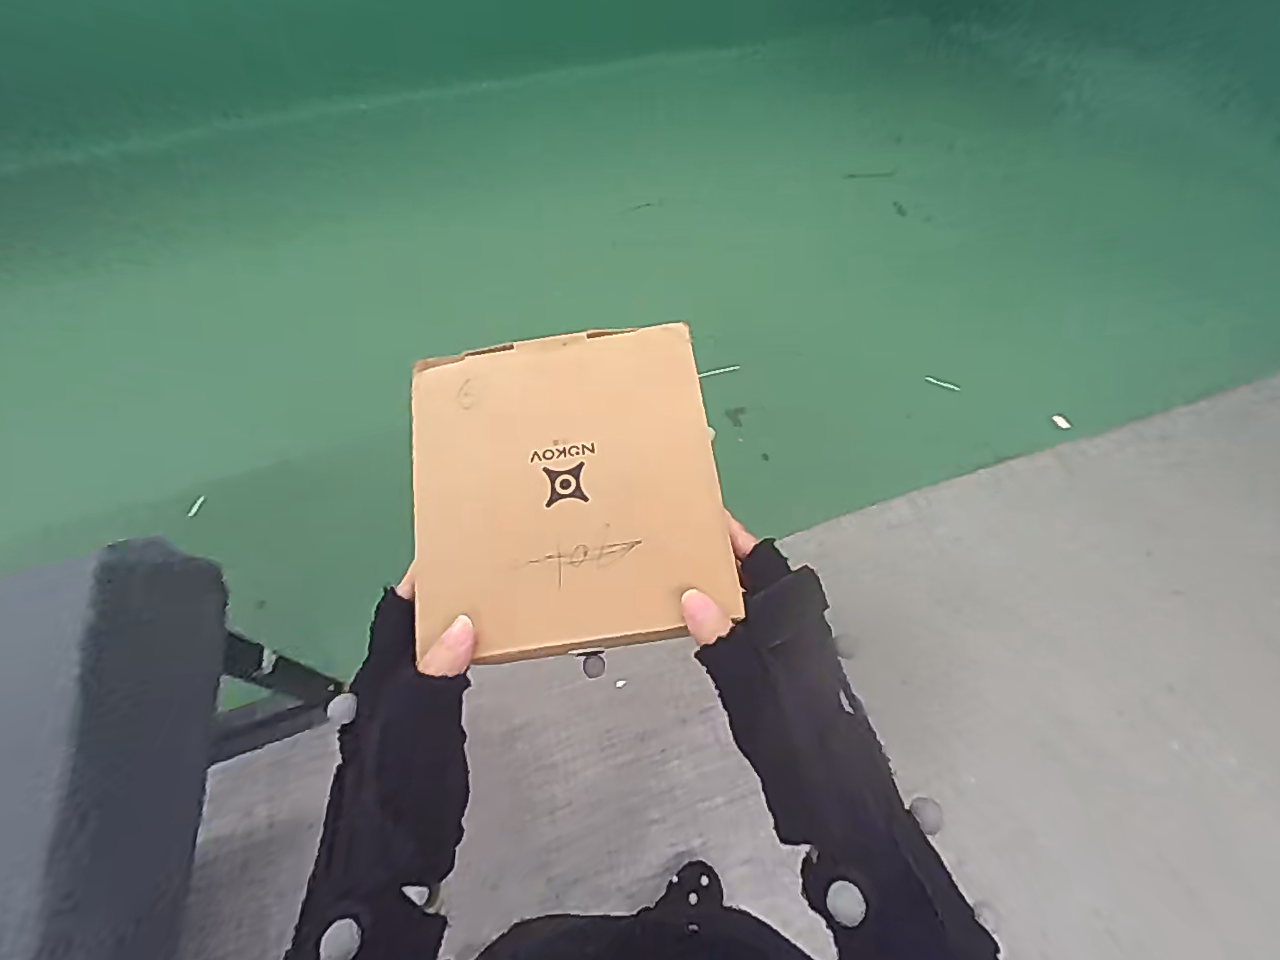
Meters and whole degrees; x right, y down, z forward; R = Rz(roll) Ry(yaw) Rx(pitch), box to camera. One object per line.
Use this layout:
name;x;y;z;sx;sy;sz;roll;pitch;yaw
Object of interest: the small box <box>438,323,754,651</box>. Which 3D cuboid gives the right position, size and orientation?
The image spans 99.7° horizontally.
small box;-0.028;0.020;0.379;0.168;0.176;0.179;-8;73;1
